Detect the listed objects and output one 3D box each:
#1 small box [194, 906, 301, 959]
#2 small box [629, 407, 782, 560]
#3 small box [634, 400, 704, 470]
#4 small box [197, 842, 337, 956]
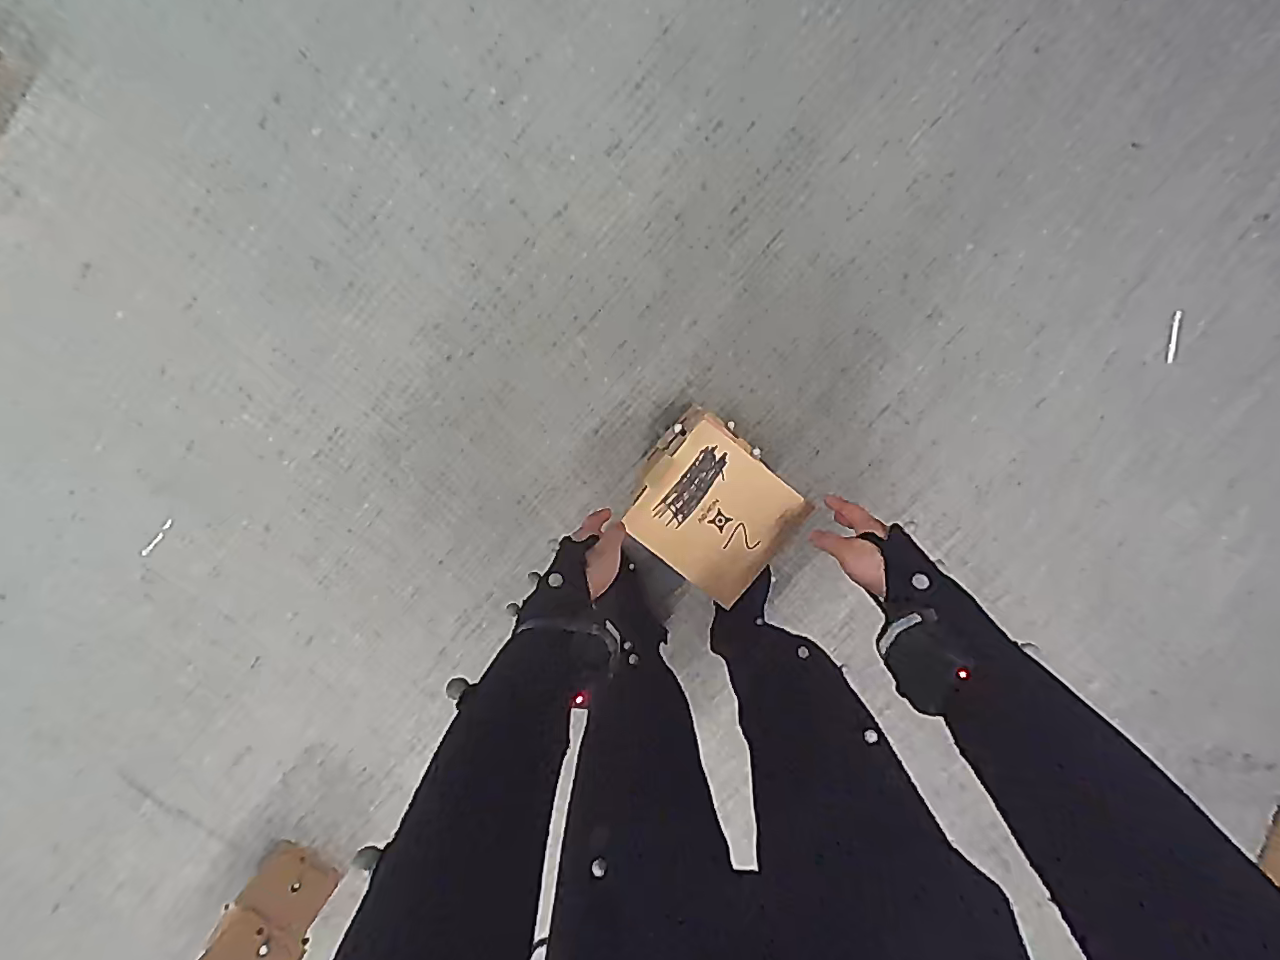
[{"bbox_3d":[-0.813,1.002,1.055,0.168,0.176,0.179,37,96,-3],"label":"small box"},{"bbox_3d":[0.100,-0.004,0.891,0.168,0.176,0.179,42,98,-2],"label":"small box"},{"bbox_3d":[0.108,-0.036,1.050,0.179,0.176,0.168,42,97,-3],"label":"small box"},{"bbox_3d":[-0.824,0.972,1.216,0.168,0.176,0.179,34,98,-2],"label":"small box"}]
